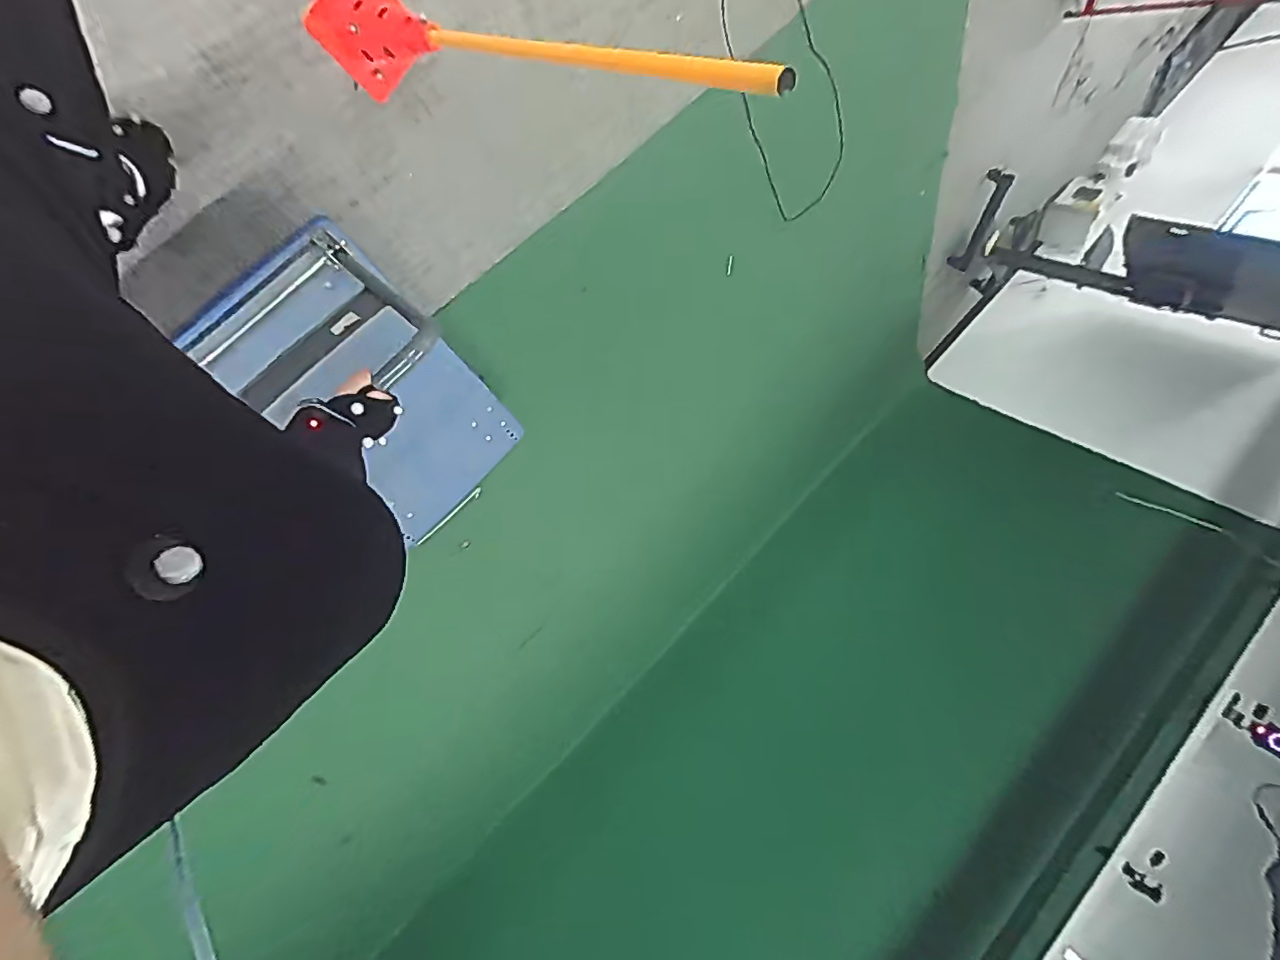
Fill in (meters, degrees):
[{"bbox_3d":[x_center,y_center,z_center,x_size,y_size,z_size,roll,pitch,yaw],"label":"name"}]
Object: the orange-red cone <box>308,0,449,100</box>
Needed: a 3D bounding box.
[{"bbox_3d":[-0.491,-0.919,1.112,0.199,0.360,0.198,-54,146,1],"label":"orange-red cone"}]
